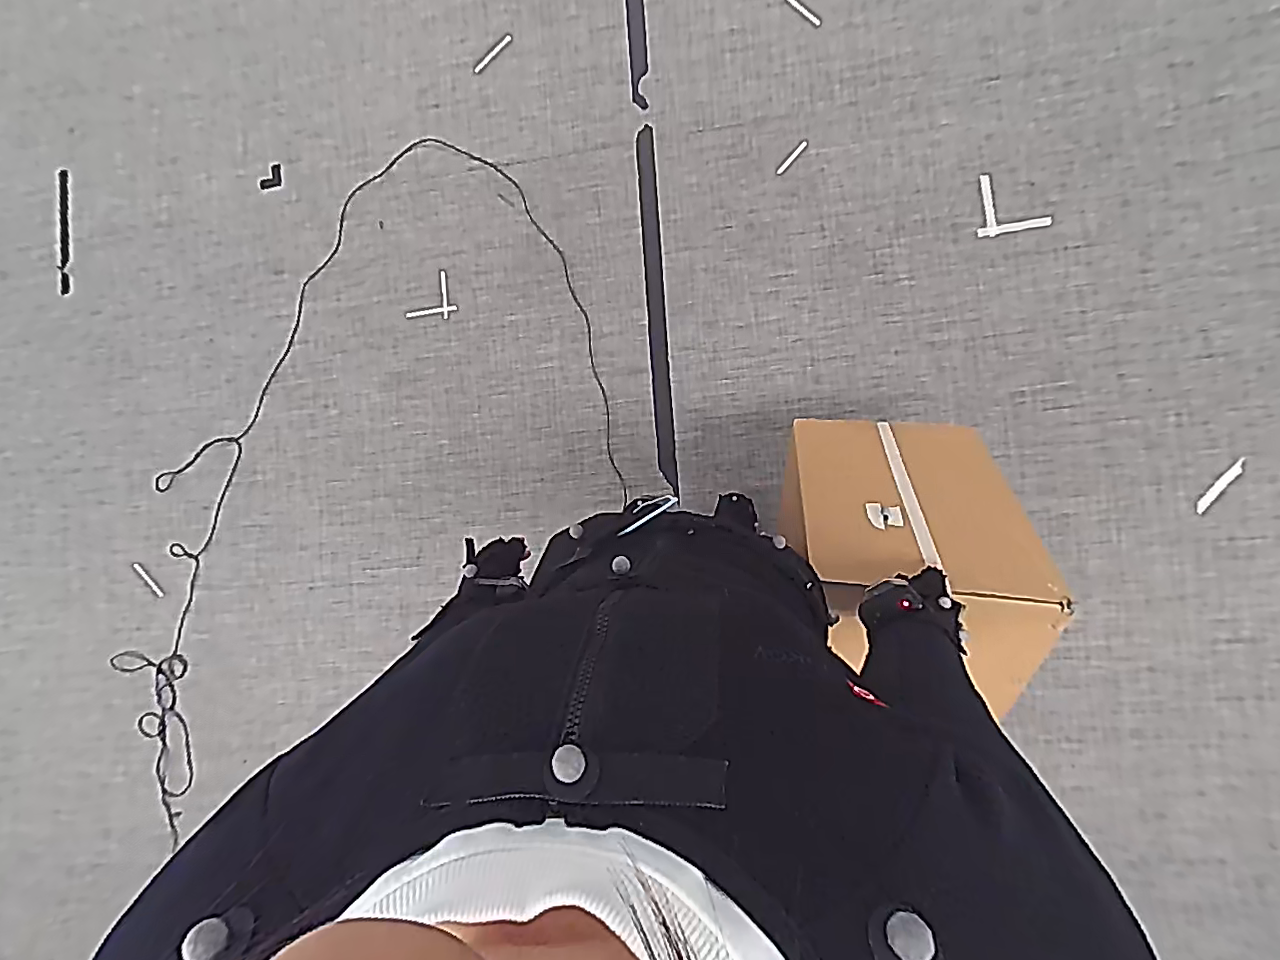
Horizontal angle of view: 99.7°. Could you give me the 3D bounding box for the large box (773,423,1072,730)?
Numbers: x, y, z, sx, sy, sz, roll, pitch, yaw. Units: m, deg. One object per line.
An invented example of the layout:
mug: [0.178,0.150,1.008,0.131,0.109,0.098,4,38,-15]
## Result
large box: [0.411,0.144,0.923,0.320,0.408,0.320,3,129,9]
